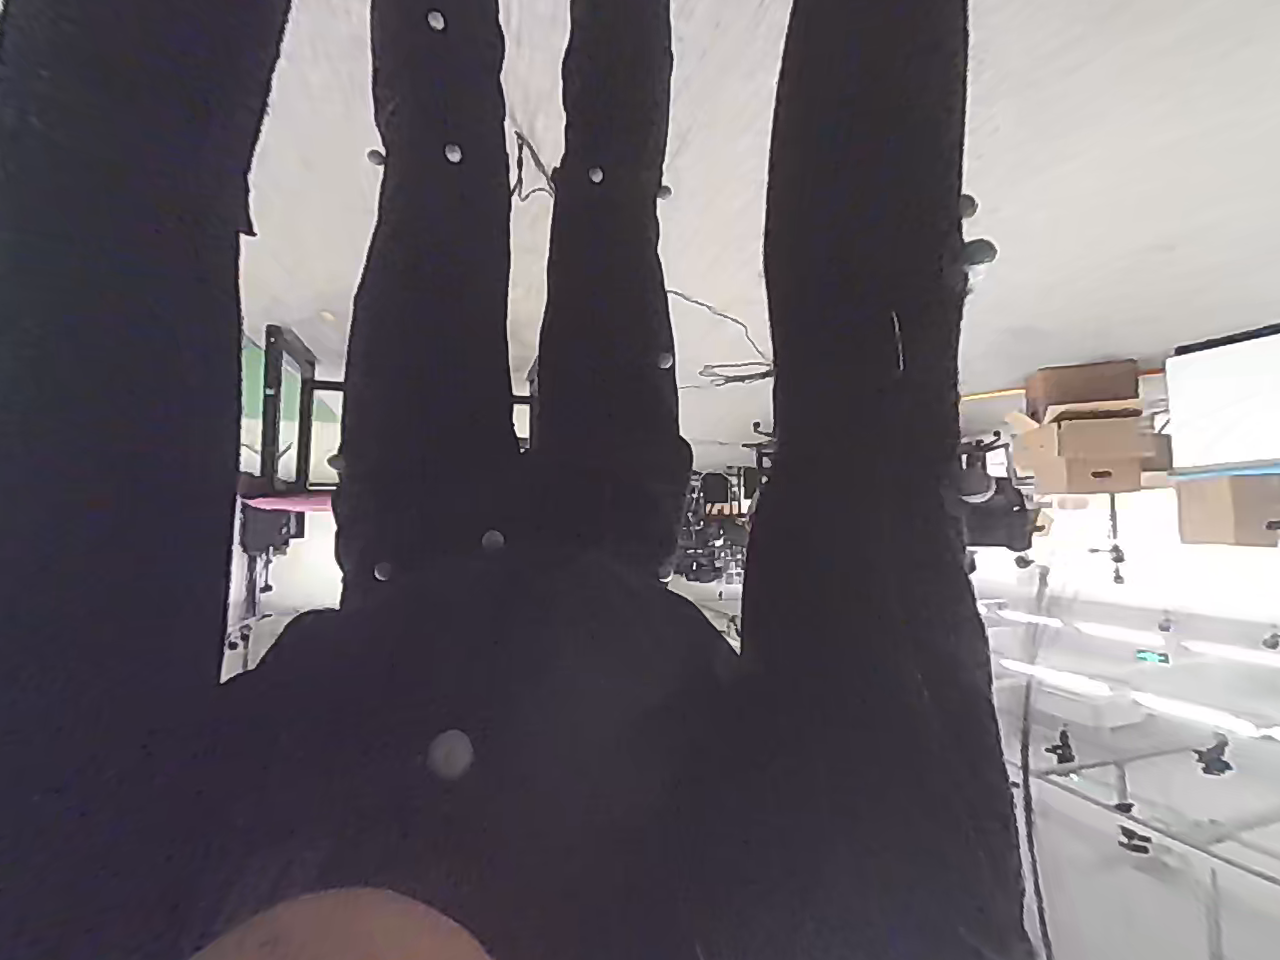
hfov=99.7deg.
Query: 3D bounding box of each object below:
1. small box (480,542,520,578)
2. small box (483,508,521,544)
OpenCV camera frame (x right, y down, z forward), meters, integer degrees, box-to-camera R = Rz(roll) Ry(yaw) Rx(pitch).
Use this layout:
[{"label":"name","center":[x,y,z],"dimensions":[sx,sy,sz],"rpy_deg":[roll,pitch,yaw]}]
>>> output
[{"label":"small box","center":[-0.674,0.383,2.610],"dimensions":[0.179,0.176,0.168],"rpy_deg":[0,174,-12]},{"label":"small box","center":[-0.670,0.222,2.630],"dimensions":[0.179,0.176,0.168],"rpy_deg":[2,174,-14]}]
